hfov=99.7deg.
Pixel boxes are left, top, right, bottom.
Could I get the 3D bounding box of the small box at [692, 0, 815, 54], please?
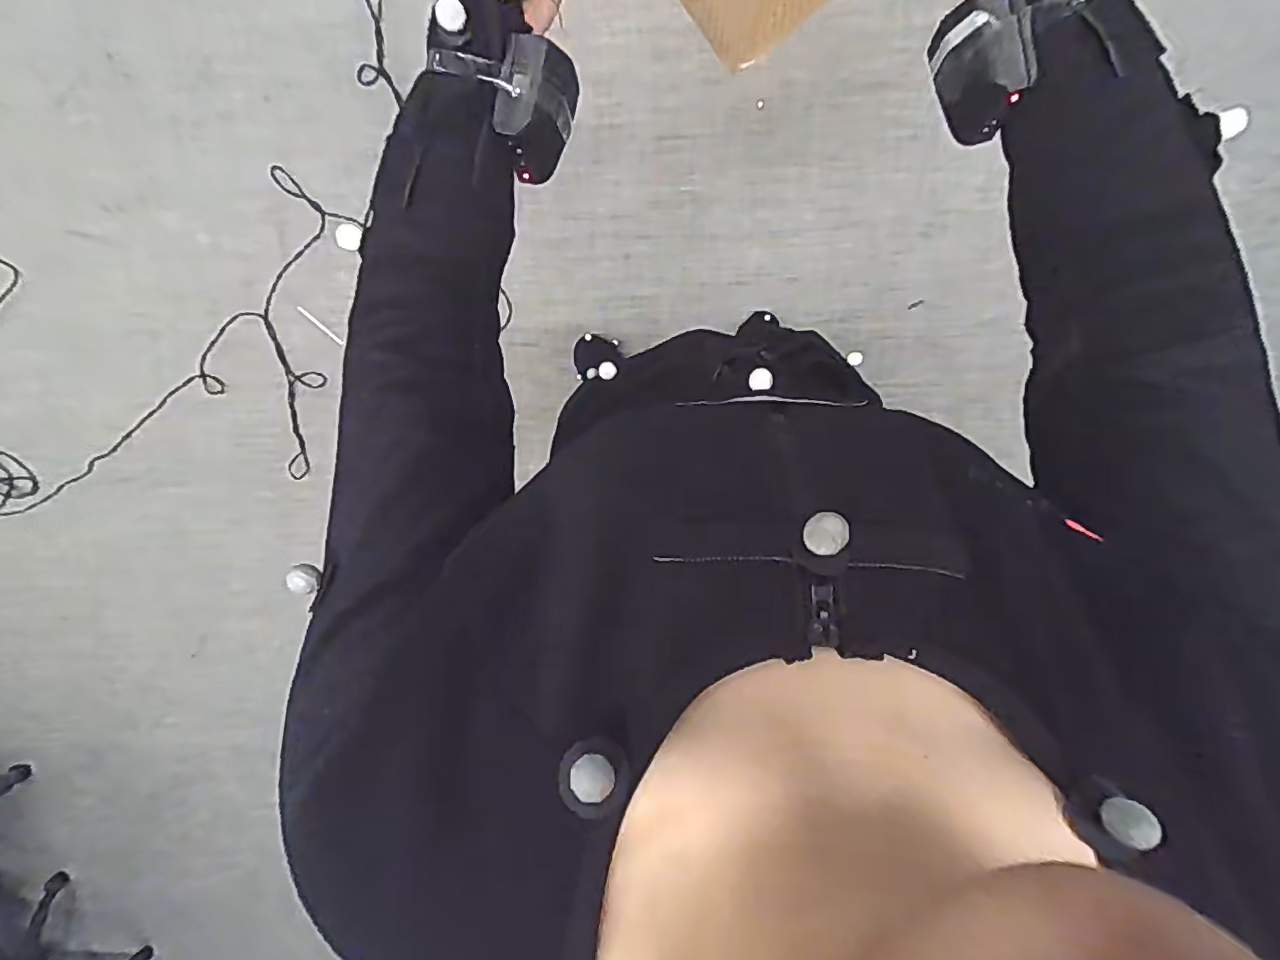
[{"bbox_3d":[0.071,-0.362,0.246,0.179,0.176,0.168,-37,92,8],"label":"small box"}]
